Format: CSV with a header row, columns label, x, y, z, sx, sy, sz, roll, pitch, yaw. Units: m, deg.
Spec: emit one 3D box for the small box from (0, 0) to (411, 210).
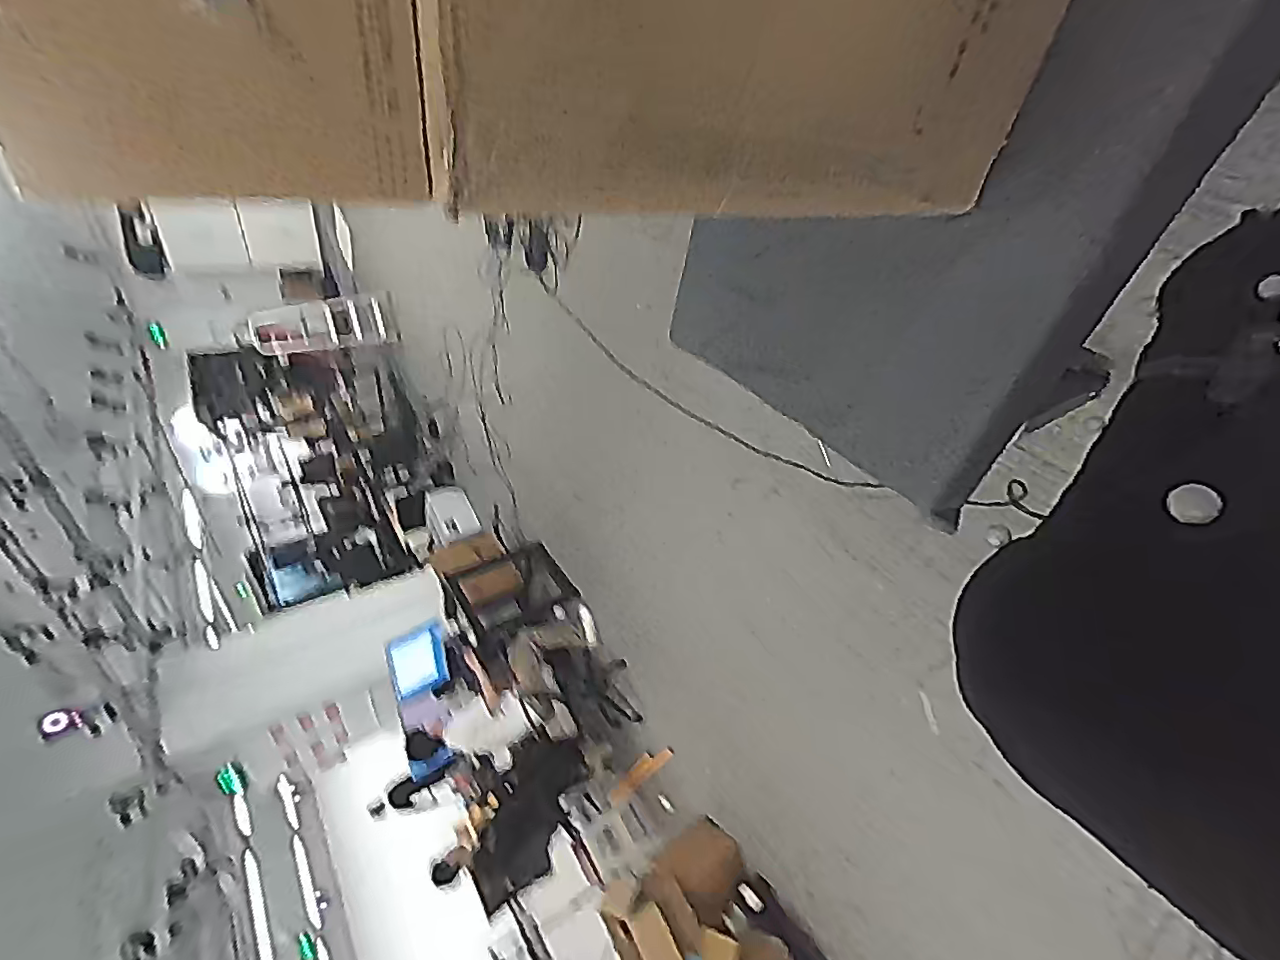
label,x,y,z,sx,sy,sz,roll,pitch,yaw
small box,-0.226,-0.248,0.270,0.179,0.176,0.168,41,137,34
